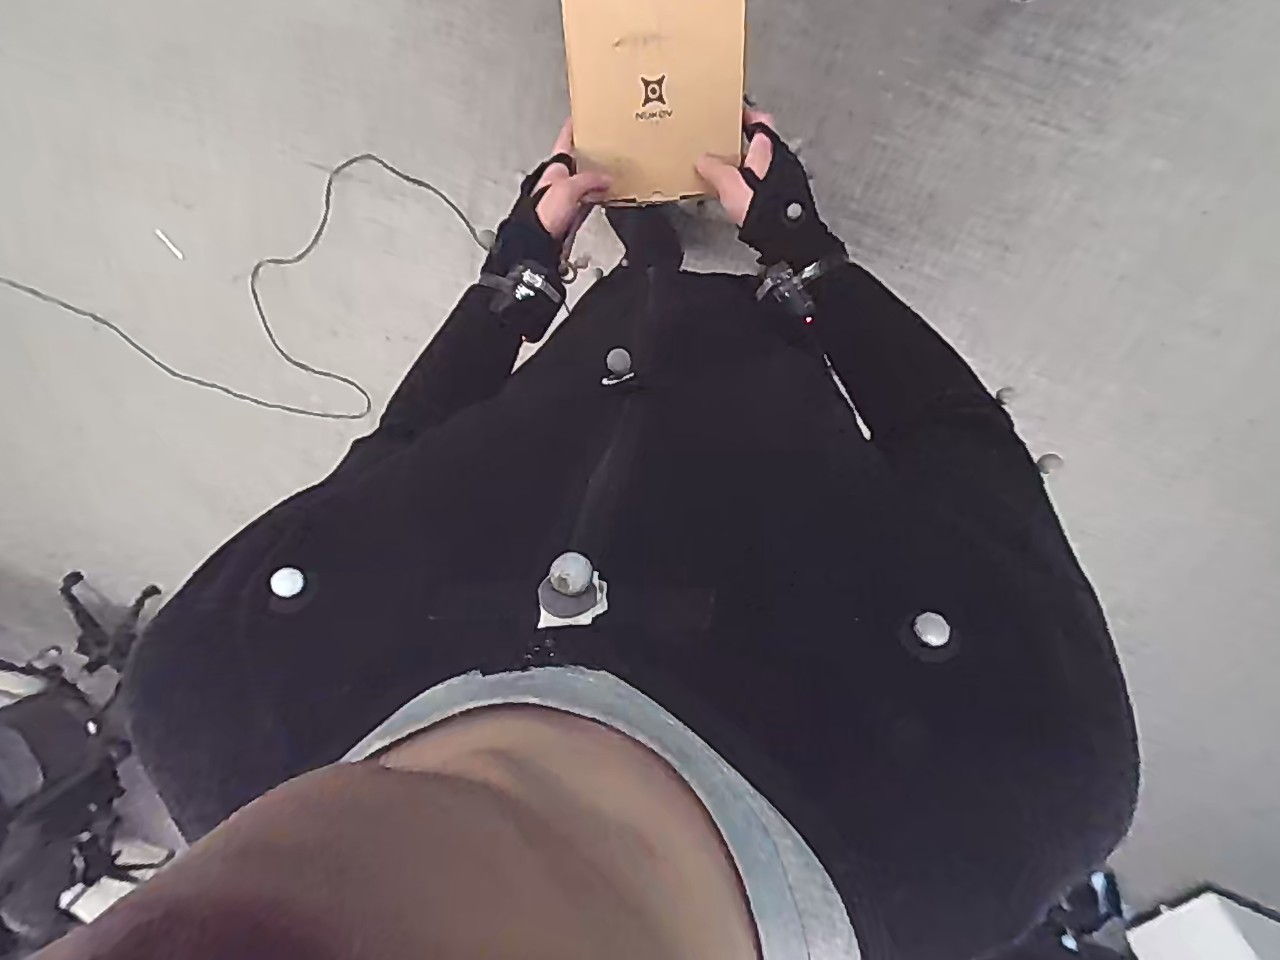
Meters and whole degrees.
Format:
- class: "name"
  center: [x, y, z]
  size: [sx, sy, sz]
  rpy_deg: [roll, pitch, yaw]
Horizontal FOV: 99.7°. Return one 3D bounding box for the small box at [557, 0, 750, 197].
- class: "small box"
  center: [0.025, -0.393, 0.557]
  size: [0.168, 0.176, 0.179]
  rpy_deg: [2, 115, 11]
